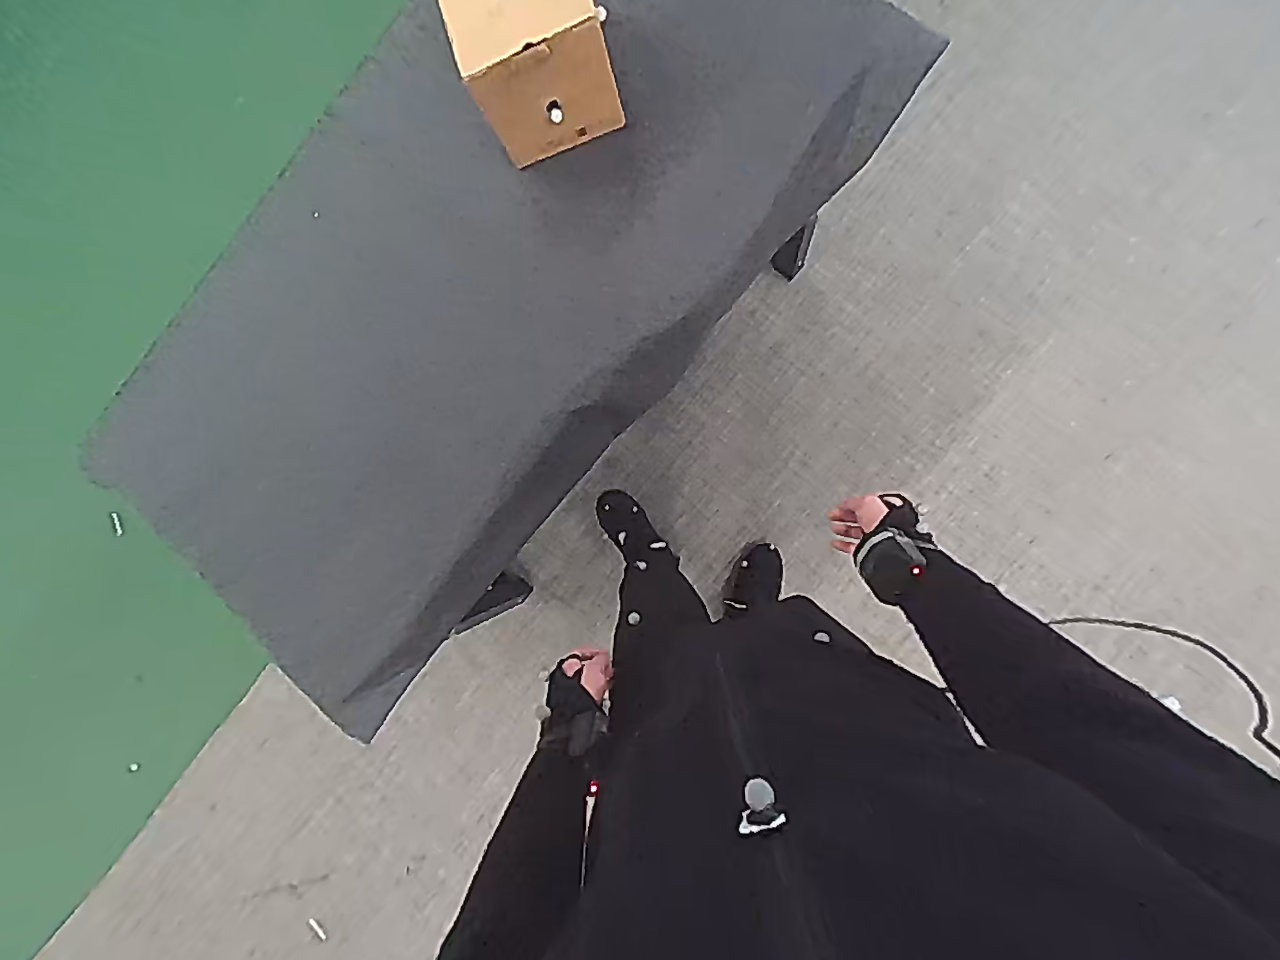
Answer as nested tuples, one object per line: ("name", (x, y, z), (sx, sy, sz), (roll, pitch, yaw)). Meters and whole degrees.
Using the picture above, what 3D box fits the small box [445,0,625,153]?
("small box", (-0.127, -0.550, 0.678), (0.168, 0.176, 0.179), (-17, 86, 8))
